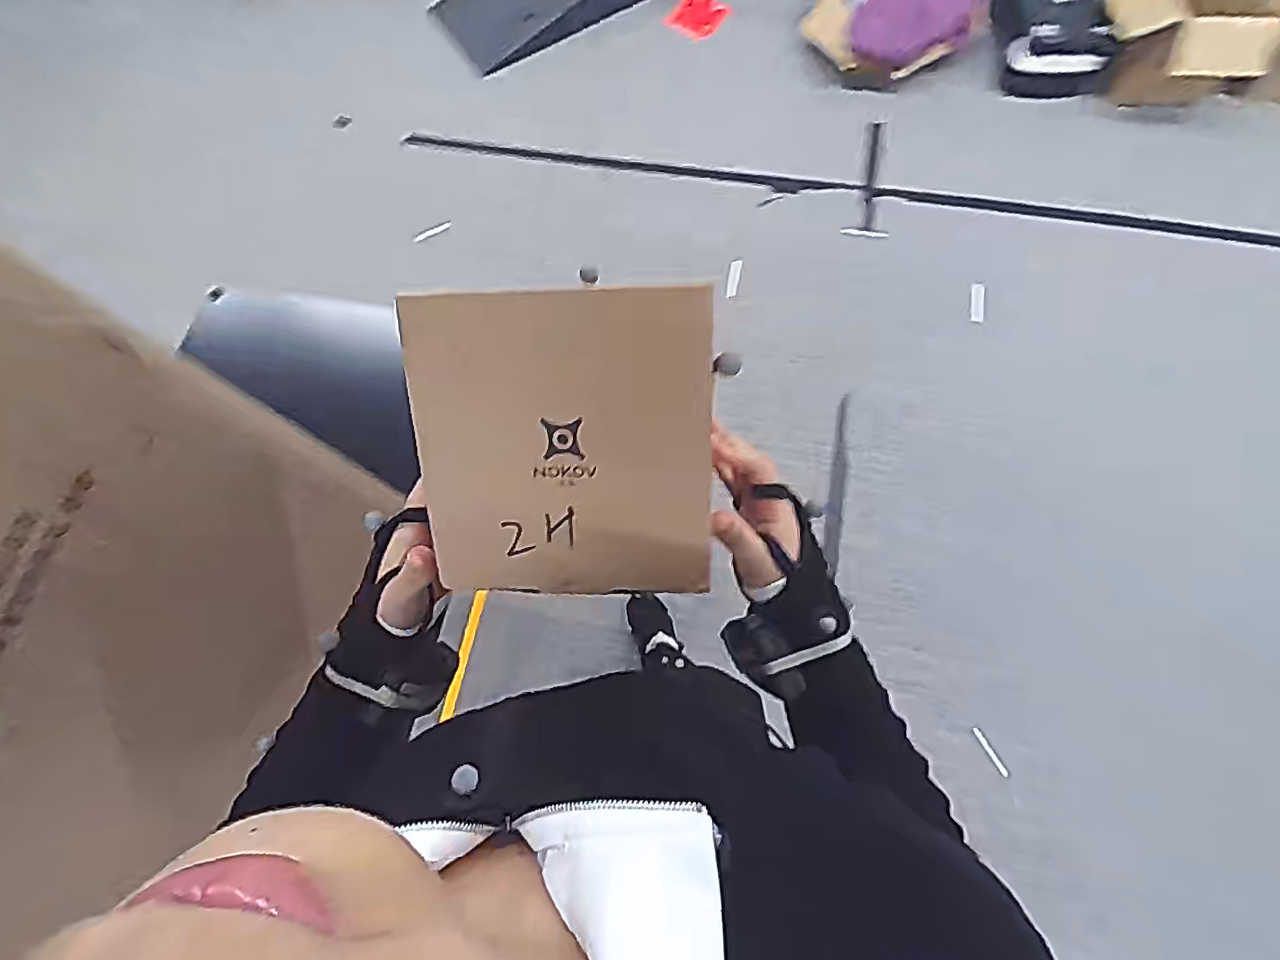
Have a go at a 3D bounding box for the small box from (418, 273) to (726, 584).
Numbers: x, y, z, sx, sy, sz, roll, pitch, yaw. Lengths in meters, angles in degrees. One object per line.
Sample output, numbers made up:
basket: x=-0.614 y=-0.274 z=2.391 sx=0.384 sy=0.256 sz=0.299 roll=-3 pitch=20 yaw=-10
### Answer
small box: x=-0.032 y=-0.045 z=0.381 sx=0.168 sy=0.176 sz=0.179 roll=2 pitch=107 yaw=5
